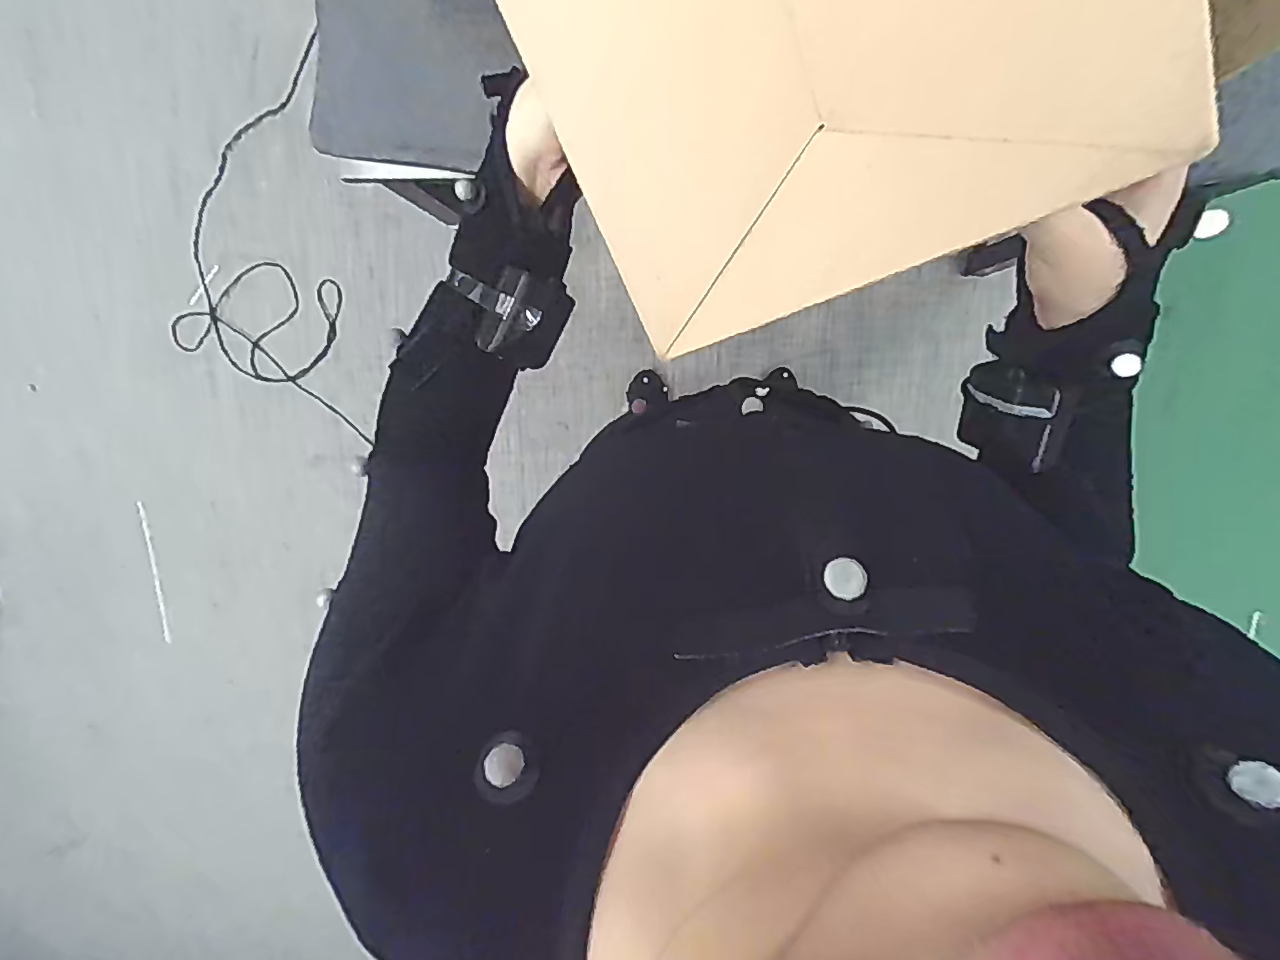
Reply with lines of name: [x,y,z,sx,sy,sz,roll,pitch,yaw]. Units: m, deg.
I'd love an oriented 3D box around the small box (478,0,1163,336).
small box: [0.072,-0.179,0.222,0.179,0.176,0.168,-13,113,34]
